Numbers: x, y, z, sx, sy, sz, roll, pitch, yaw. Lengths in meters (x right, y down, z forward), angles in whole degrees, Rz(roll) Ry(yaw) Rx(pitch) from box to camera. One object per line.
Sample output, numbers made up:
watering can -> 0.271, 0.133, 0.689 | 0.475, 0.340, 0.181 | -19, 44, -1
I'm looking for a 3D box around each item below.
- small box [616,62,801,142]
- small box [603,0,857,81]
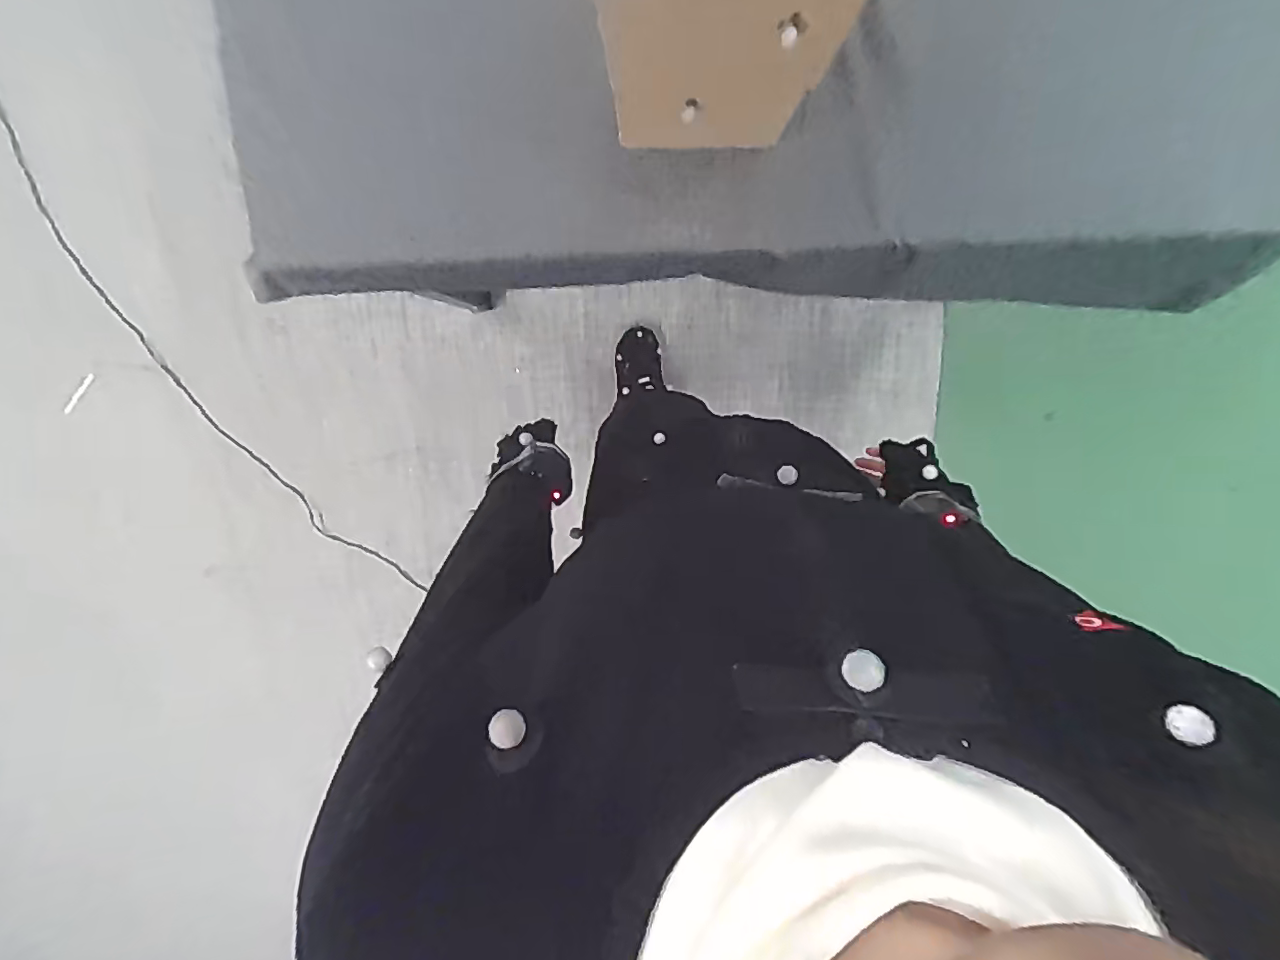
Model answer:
small box -> 0.061, -0.449, 0.520 | 0.179, 0.176, 0.168 | -3, 101, 1
small box -> 0.059, -0.392, 0.347 | 0.179, 0.176, 0.168 | -4, 102, 1
